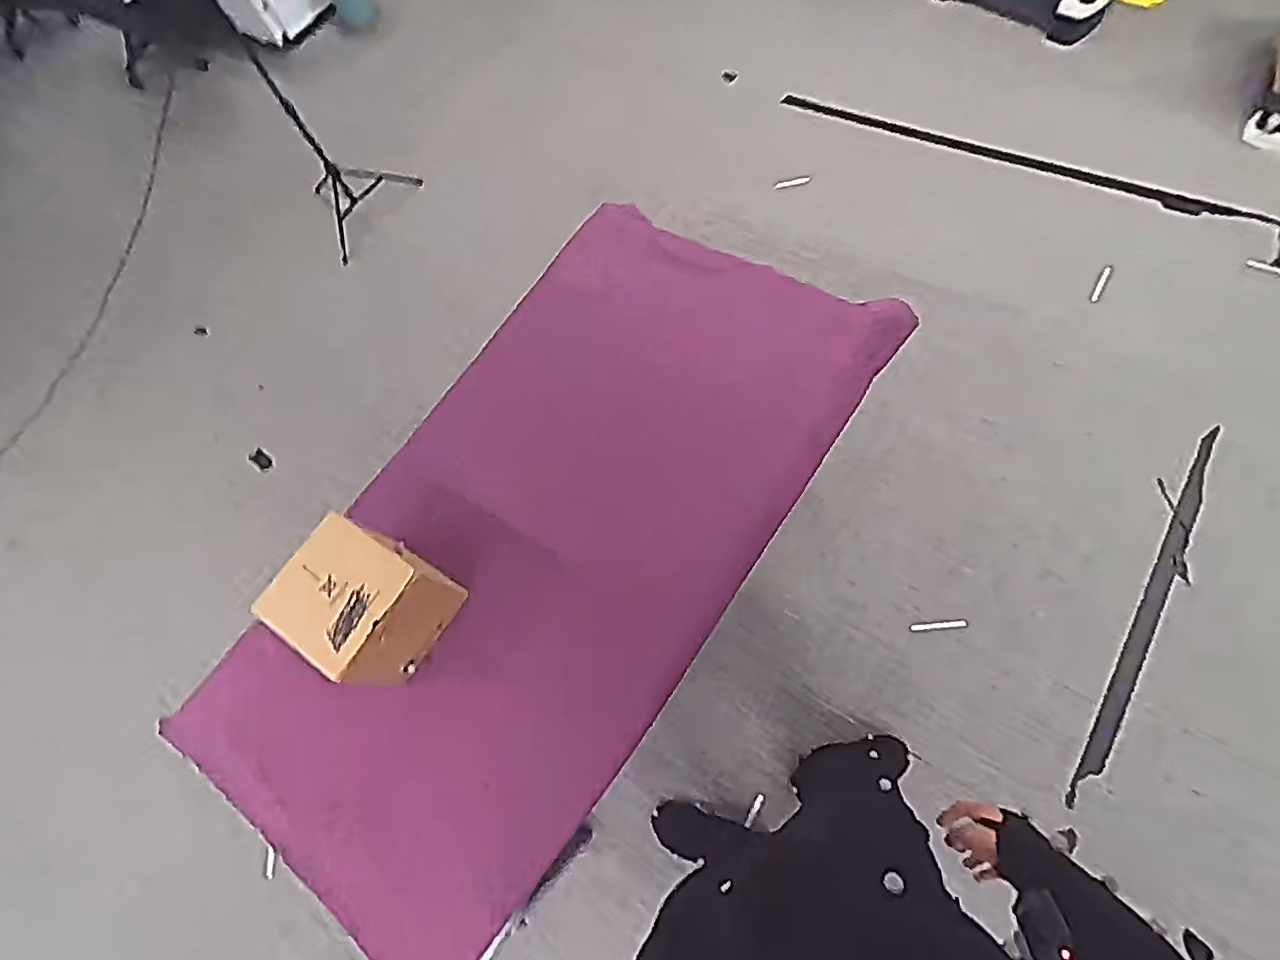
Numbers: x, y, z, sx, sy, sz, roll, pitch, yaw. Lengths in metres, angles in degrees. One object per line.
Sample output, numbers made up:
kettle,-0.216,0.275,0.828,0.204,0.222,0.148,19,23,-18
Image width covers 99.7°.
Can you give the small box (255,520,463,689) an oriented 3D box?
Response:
small box,-0.399,0.188,0.801,0.179,0.176,0.168,28,74,18
